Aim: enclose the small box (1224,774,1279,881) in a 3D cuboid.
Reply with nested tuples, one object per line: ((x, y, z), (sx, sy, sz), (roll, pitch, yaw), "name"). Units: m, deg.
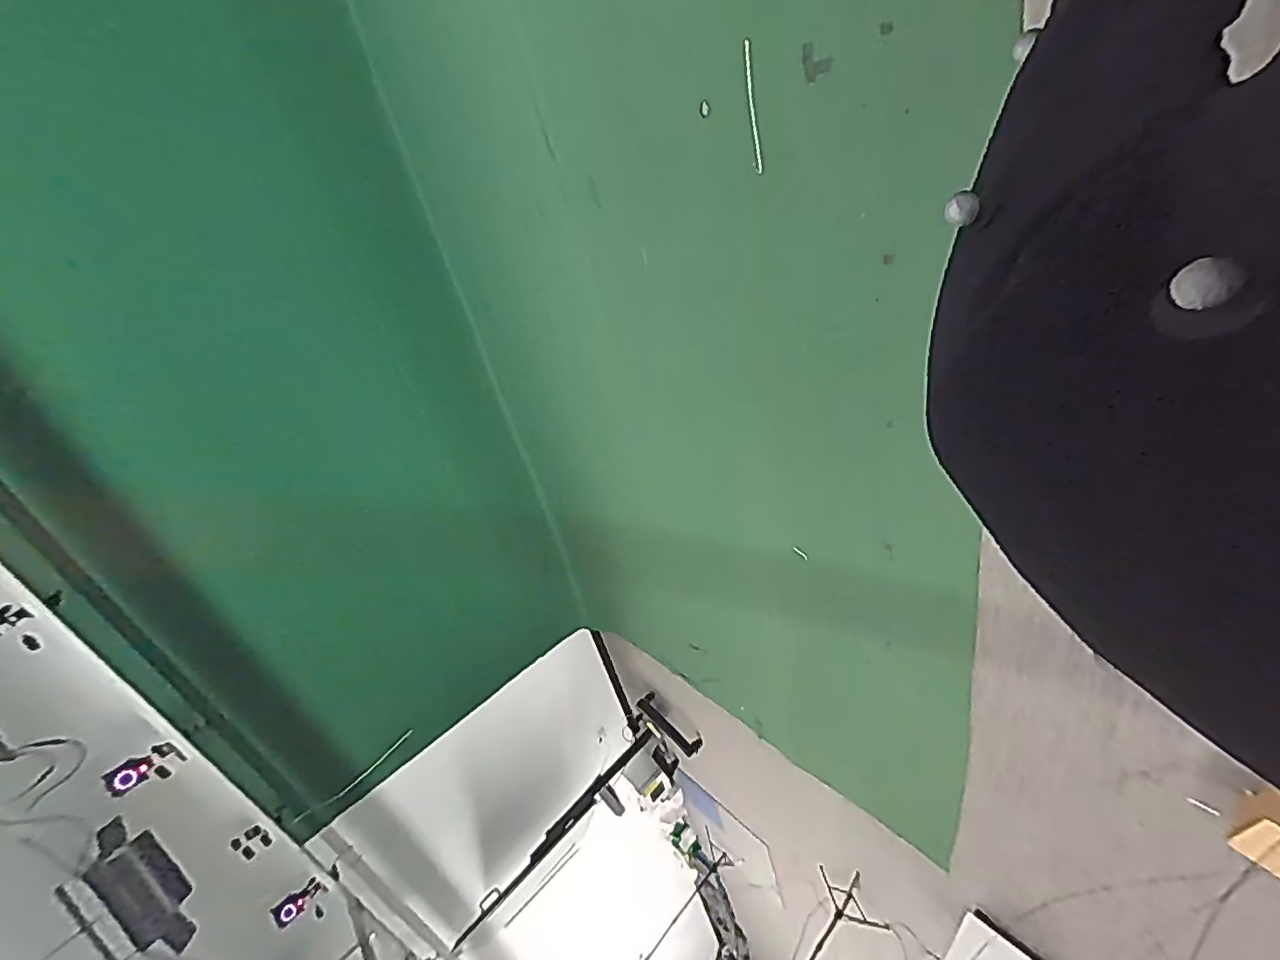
((1.606, 0.870, 1.320), (0.179, 0.176, 0.168), (34, 143, 37), "small box")
